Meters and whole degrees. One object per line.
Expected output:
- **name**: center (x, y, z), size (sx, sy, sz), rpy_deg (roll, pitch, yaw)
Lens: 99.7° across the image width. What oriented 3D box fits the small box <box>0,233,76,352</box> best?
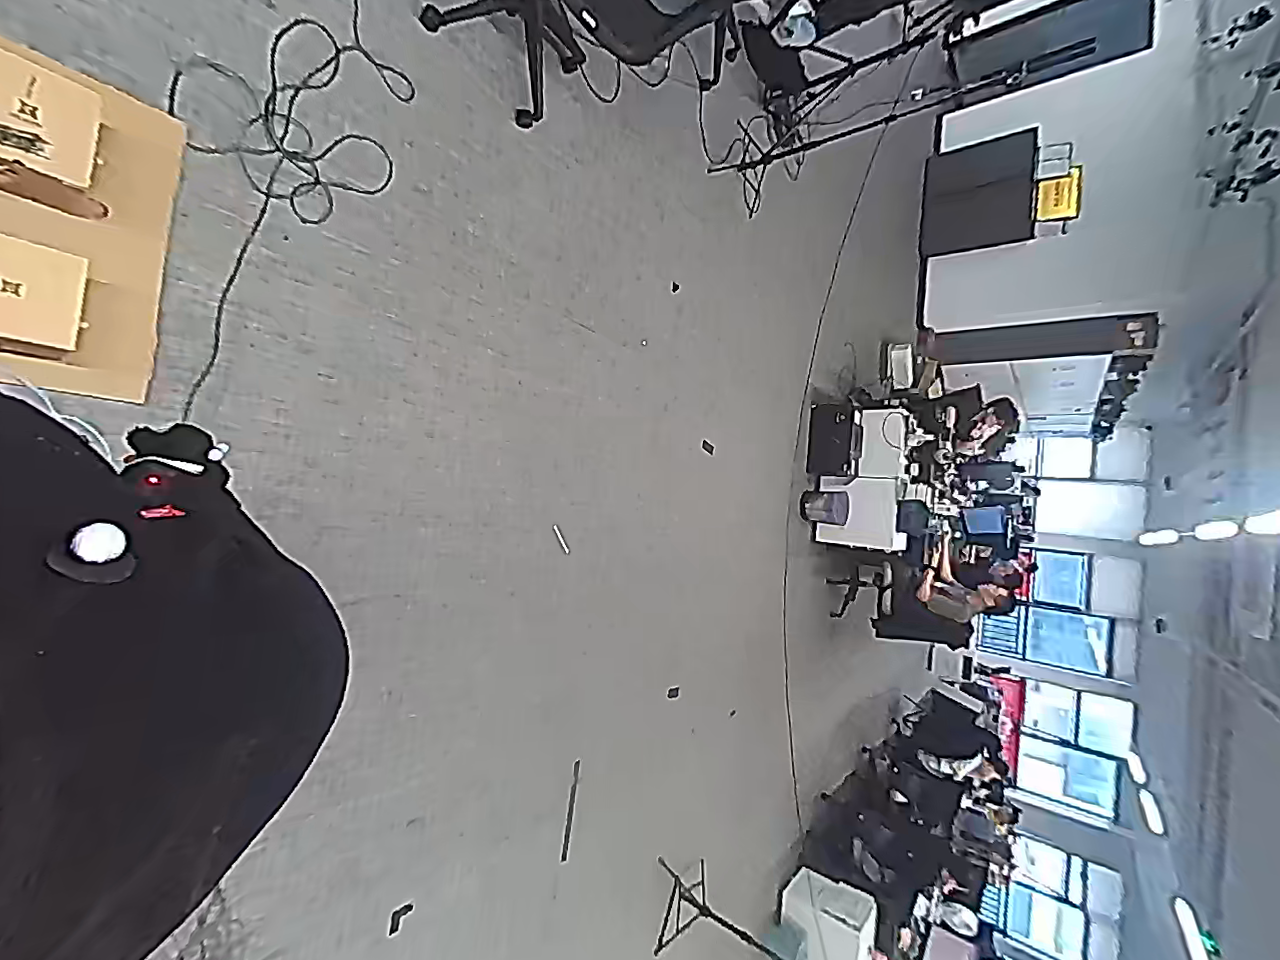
- **small box**: center (-1.092, -0.319, 0.907), size (0.179, 0.176, 0.168), rpy_deg (10, 86, -50)
